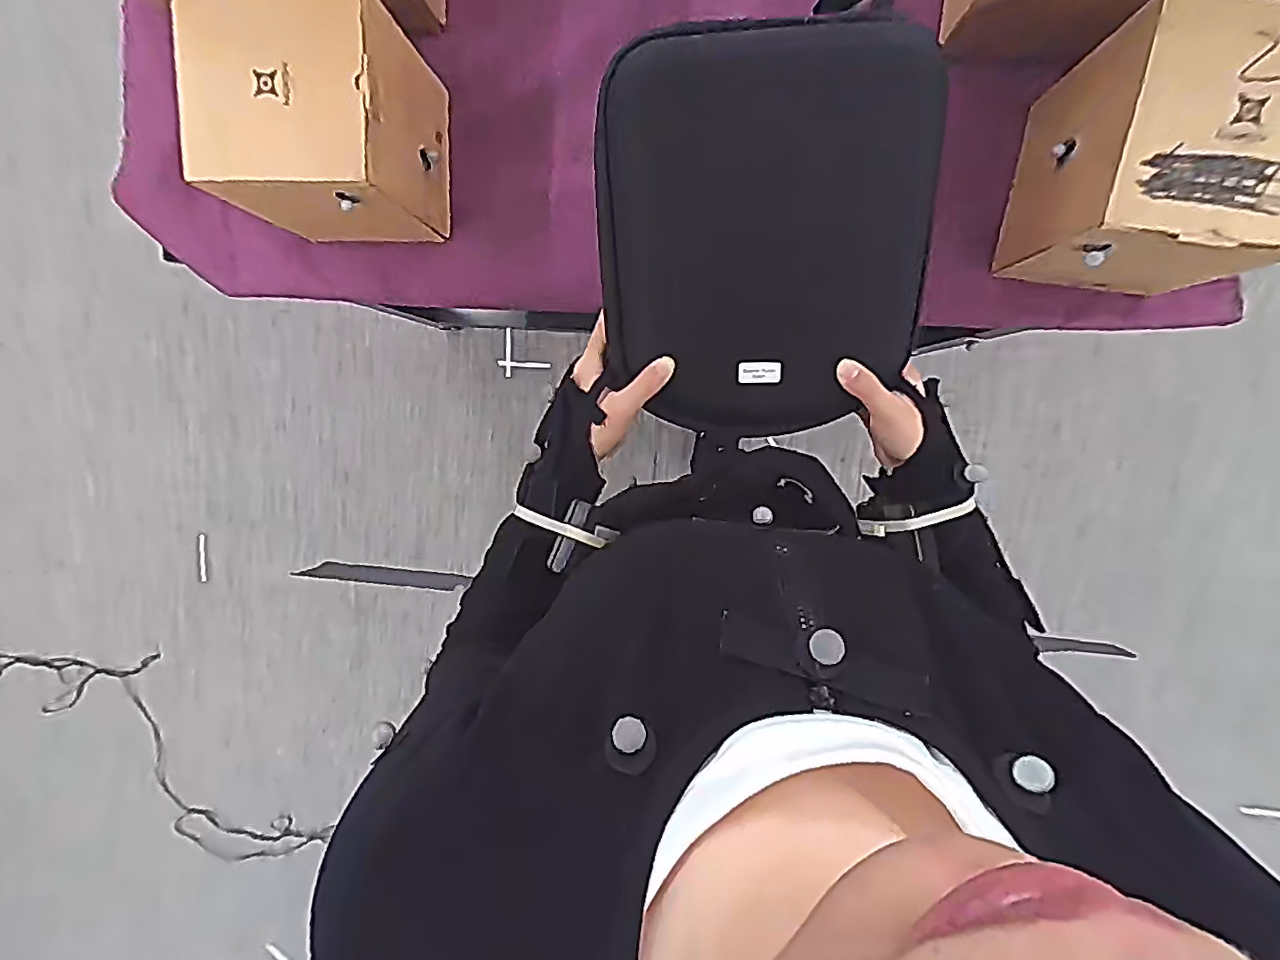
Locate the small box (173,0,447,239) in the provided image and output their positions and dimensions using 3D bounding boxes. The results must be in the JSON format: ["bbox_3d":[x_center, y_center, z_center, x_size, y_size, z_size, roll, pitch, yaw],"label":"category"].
[{"bbox_3d":[-0.318,-0.357,0.553,0.179,0.176,0.168,1,97,4],"label":"small box"}]
